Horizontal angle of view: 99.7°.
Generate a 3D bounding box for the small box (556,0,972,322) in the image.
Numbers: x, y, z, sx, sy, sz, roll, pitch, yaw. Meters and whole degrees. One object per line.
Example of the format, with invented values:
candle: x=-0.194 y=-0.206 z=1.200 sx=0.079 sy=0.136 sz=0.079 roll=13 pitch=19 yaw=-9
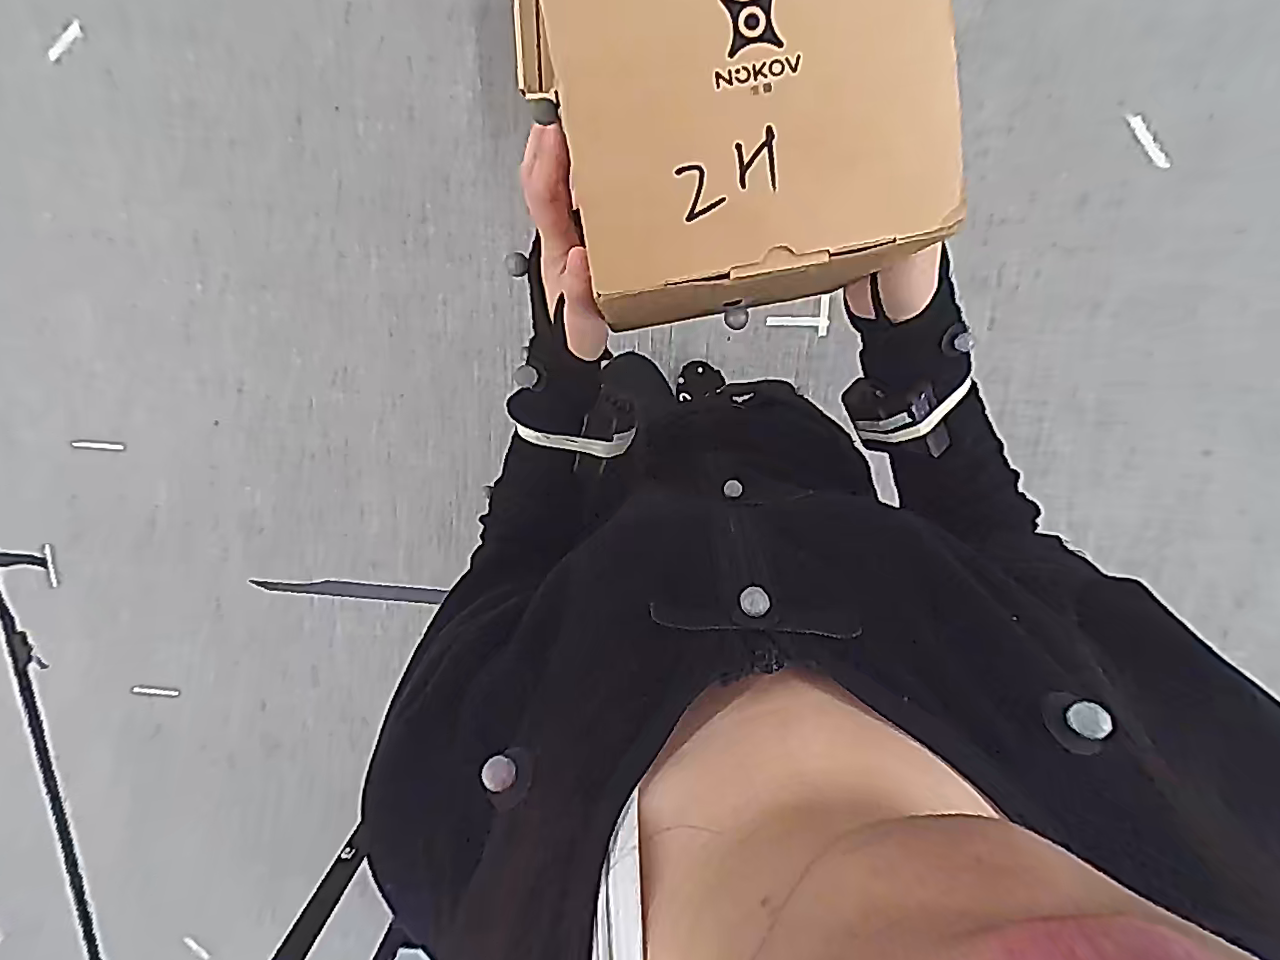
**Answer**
small box: x=0.048 y=-0.197 z=0.300 sx=0.168 sy=0.176 sz=0.179 roll=-10 pitch=100 yaw=1
